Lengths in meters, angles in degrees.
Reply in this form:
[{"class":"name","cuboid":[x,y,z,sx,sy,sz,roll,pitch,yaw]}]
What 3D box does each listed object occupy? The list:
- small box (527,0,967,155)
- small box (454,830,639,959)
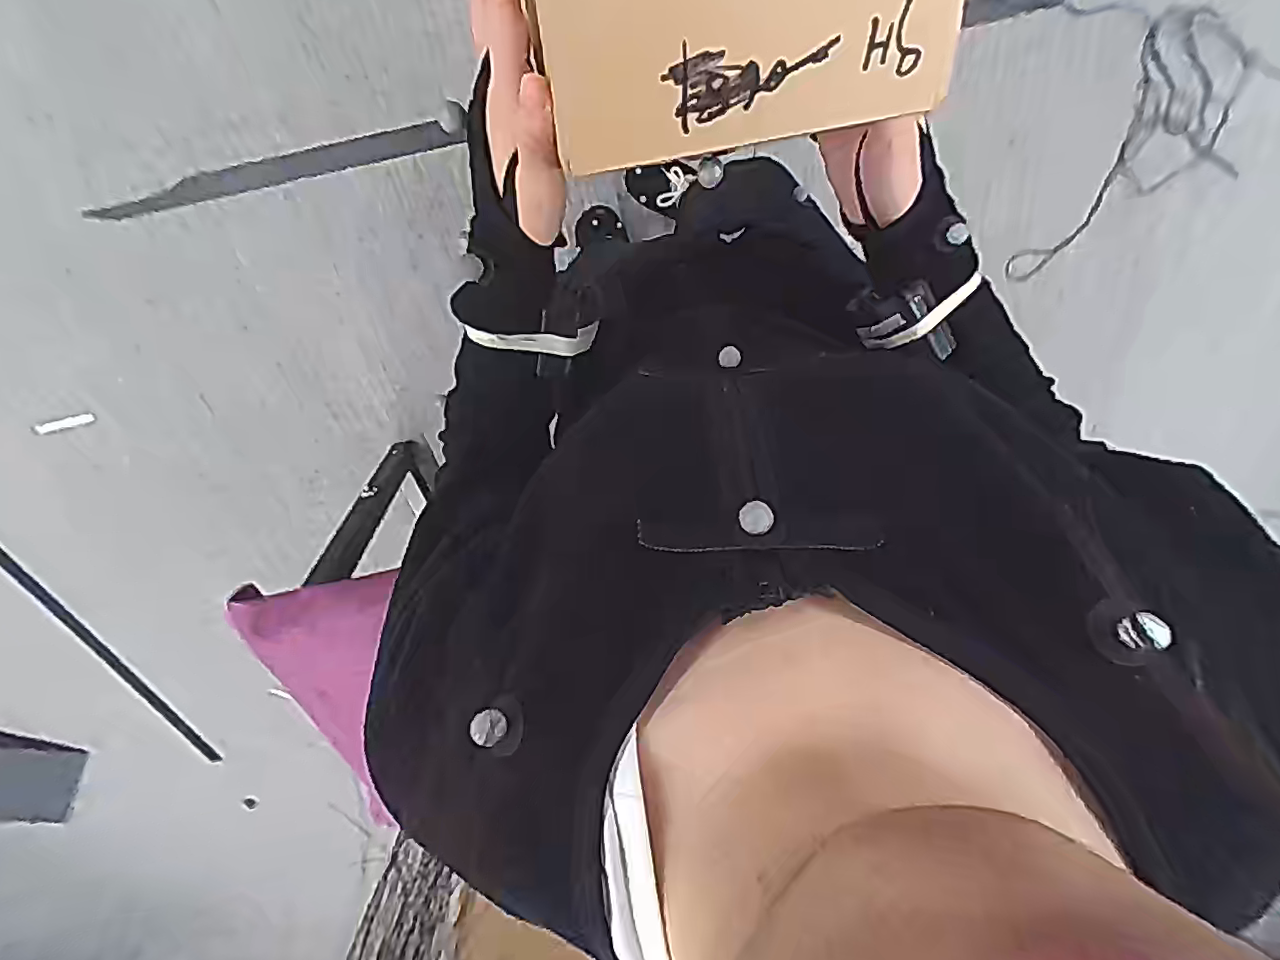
[{"class":"small box","cuboid":[0.026,-0.259,0.243,0.168,0.176,0.179,-12,122,-3]},{"class":"small box","cuboid":[-0.096,0.529,0.601,0.179,0.176,0.168,-12,121,0]}]
